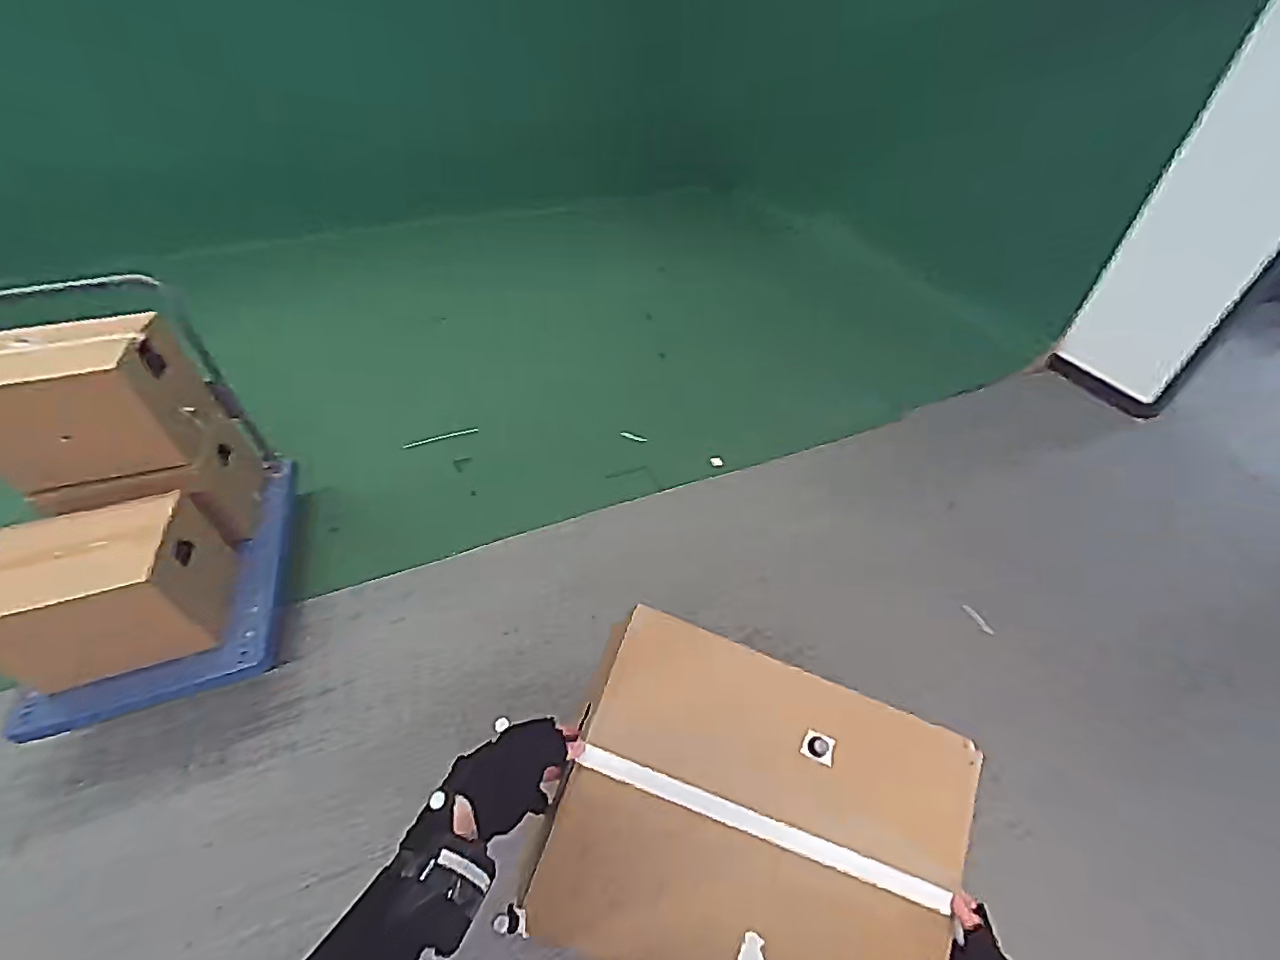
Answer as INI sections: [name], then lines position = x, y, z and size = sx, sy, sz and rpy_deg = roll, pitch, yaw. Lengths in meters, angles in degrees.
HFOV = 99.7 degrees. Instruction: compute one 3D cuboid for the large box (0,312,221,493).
[large box]
position = -1.454, -0.211, 1.450
size = 0.408, 0.320, 0.320
rpy_deg = -13, 44, -10
